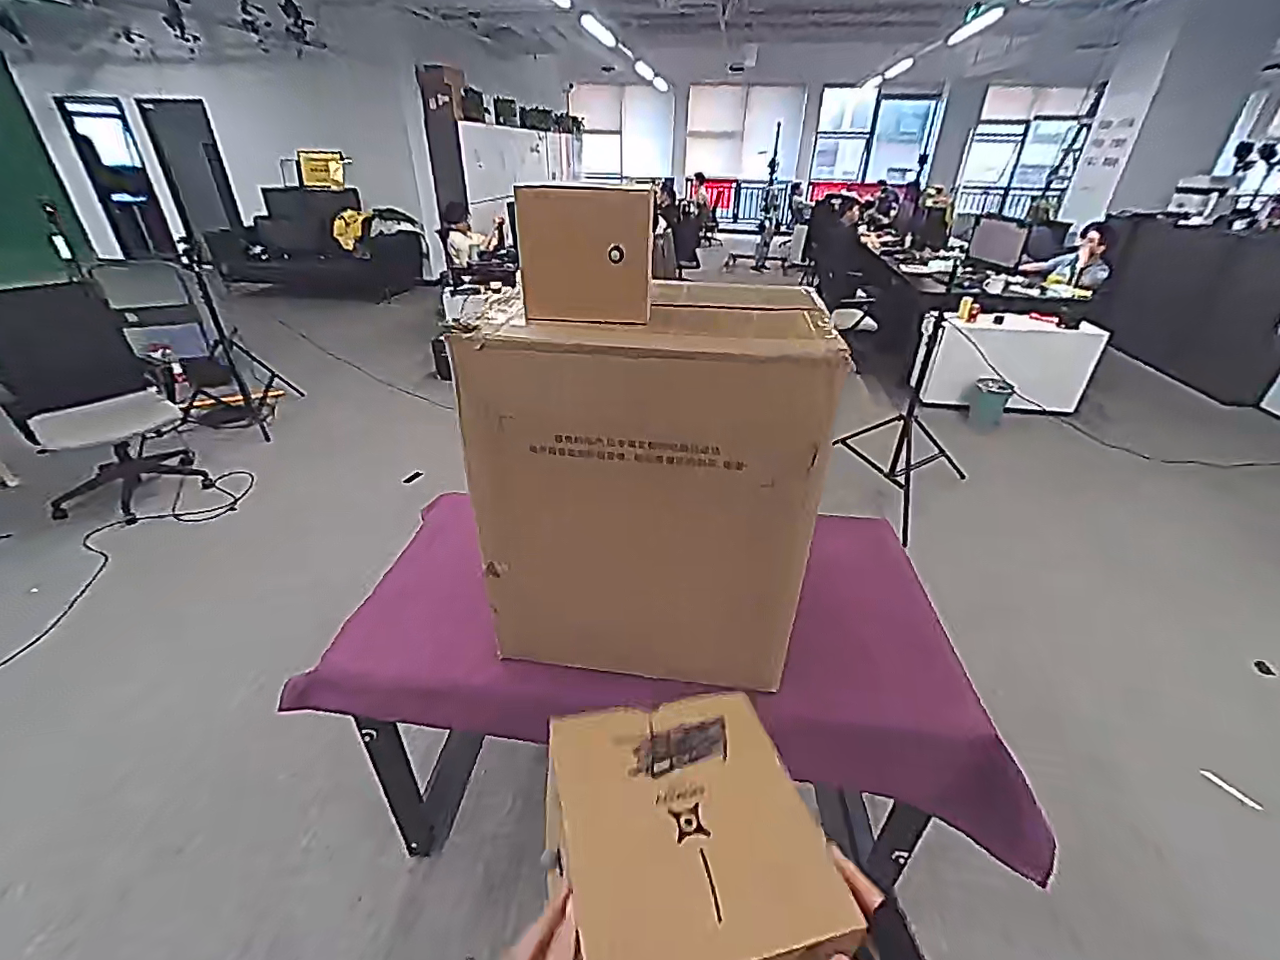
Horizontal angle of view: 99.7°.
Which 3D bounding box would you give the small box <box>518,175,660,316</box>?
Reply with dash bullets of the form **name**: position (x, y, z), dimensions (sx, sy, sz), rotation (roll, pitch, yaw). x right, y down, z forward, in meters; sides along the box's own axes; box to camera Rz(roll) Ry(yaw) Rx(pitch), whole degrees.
- **small box**: position (-0.063, -0.336, 0.775), dimensions (0.179, 0.176, 0.168), rotation (2, 30, 2)
